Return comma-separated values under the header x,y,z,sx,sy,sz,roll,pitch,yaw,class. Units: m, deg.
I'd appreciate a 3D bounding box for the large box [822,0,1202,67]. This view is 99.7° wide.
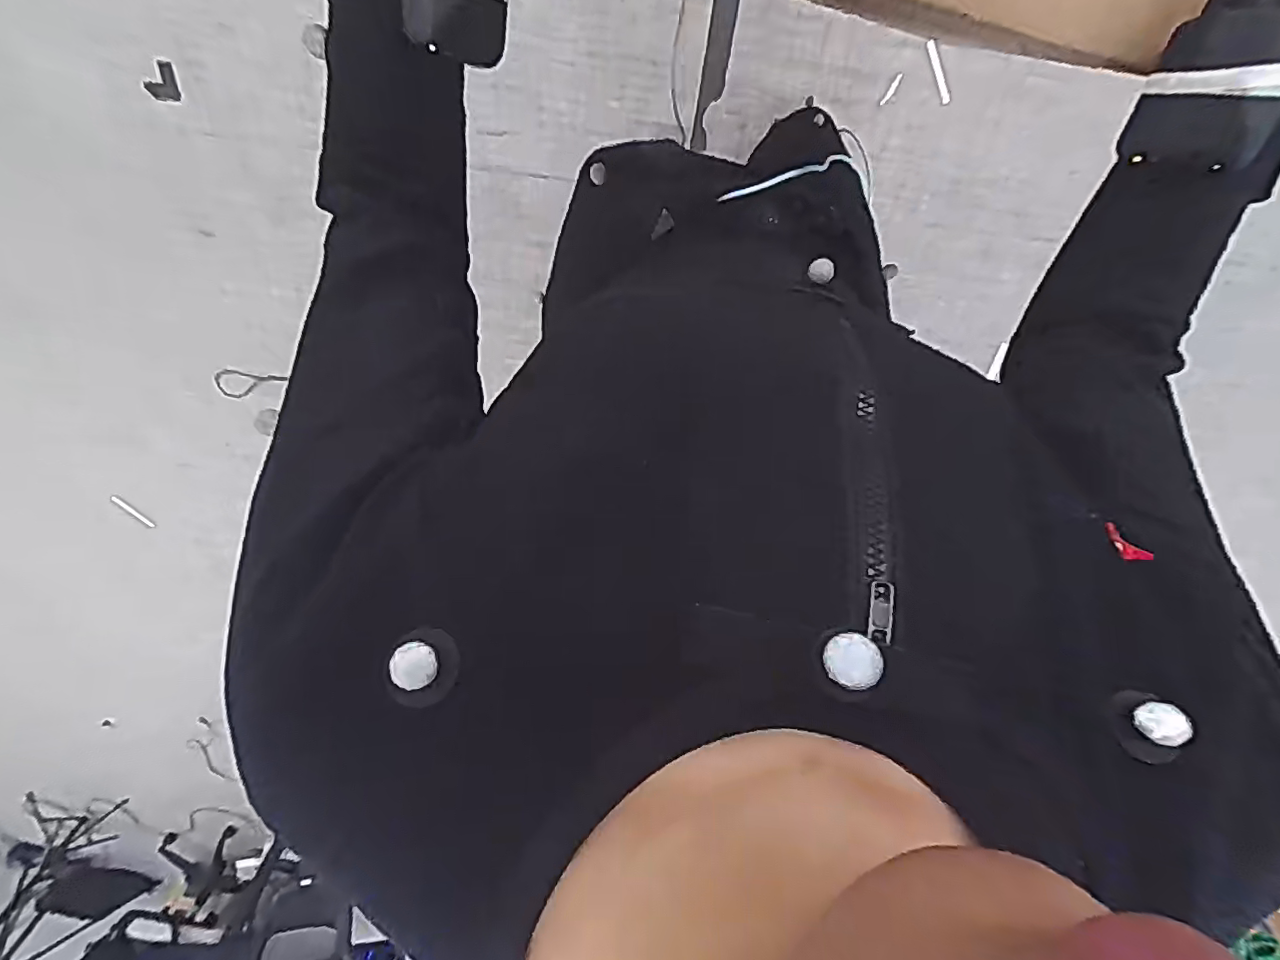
x,y,z,sx,sy,sz,roll,pitch,yaw,class
0.144,-0.484,0.304,0.408,0.320,0.320,11,133,-7,large box
